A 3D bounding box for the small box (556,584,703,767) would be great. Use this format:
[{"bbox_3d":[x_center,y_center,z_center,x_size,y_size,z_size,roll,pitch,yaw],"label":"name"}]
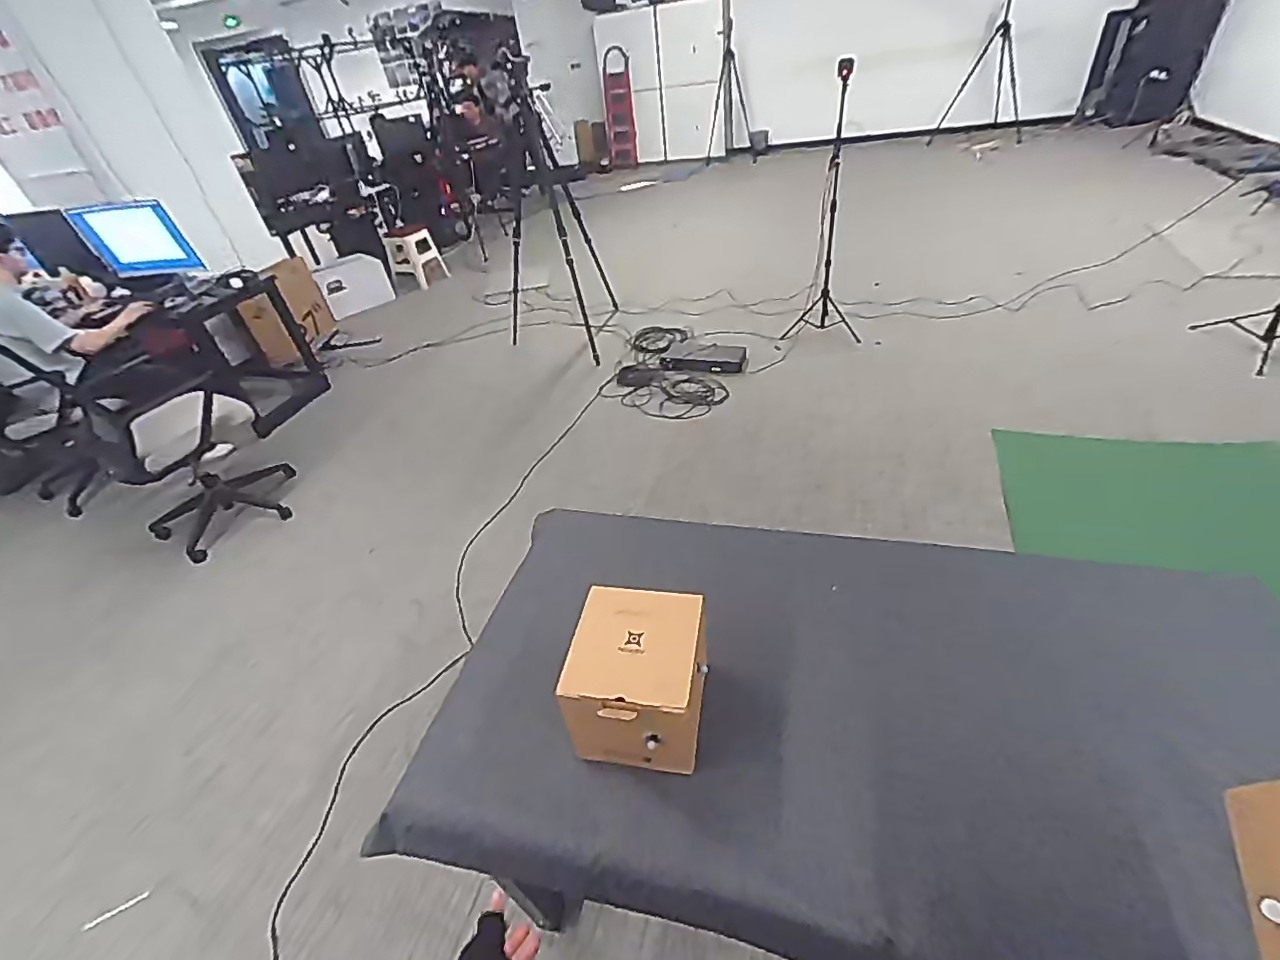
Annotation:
[{"bbox_3d":[-0.002,0.272,0.757,0.168,0.176,0.179,3,38,11],"label":"small box"}]
